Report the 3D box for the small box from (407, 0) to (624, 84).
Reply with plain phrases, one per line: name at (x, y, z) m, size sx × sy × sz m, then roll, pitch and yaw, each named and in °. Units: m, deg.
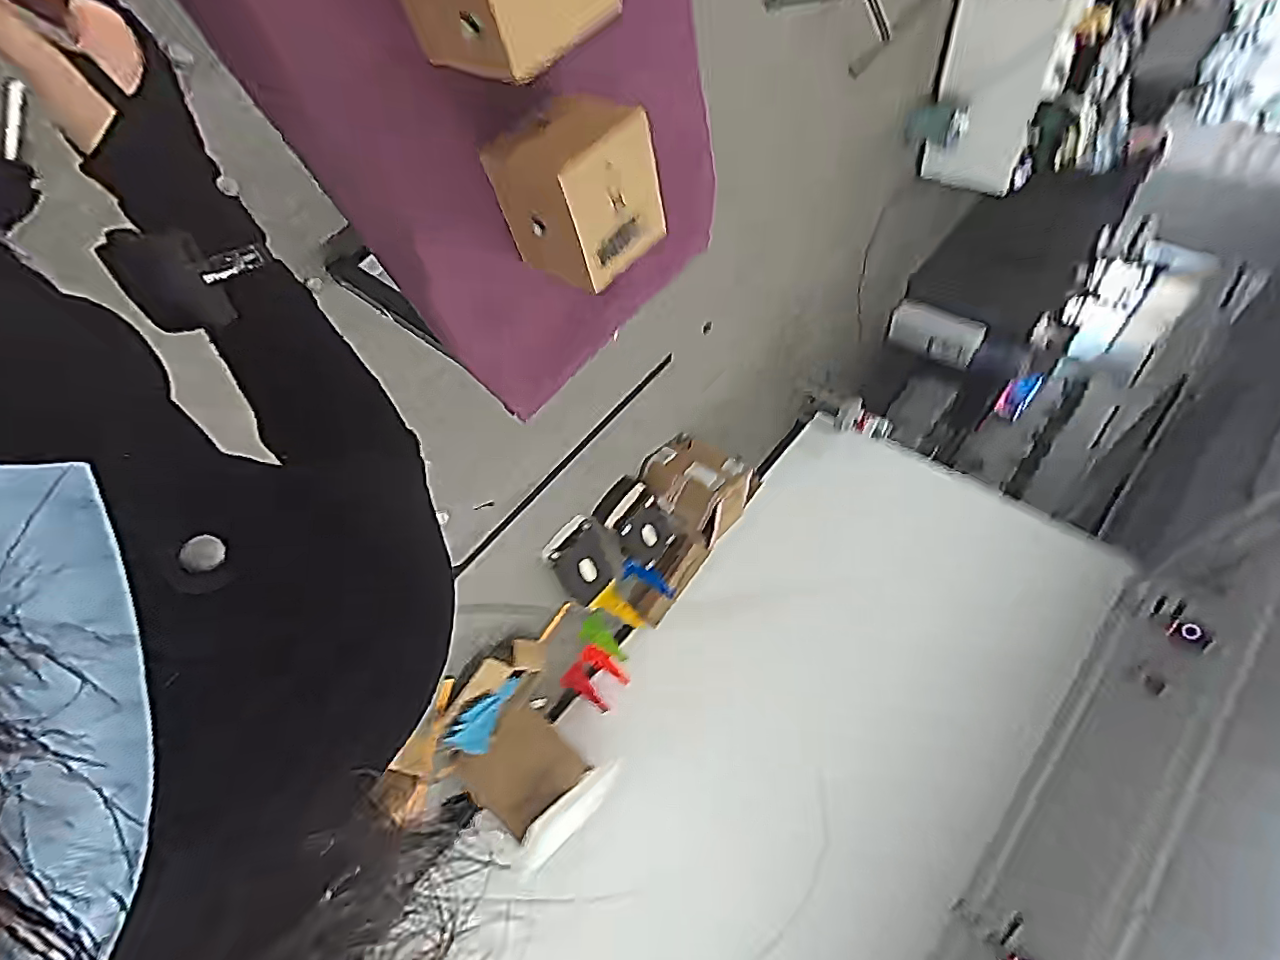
small box at (-0.146, -0.550, 0.549) m, size 0.168 × 0.176 × 0.179 m, roll -48°, pitch 151°, yaw -16°
